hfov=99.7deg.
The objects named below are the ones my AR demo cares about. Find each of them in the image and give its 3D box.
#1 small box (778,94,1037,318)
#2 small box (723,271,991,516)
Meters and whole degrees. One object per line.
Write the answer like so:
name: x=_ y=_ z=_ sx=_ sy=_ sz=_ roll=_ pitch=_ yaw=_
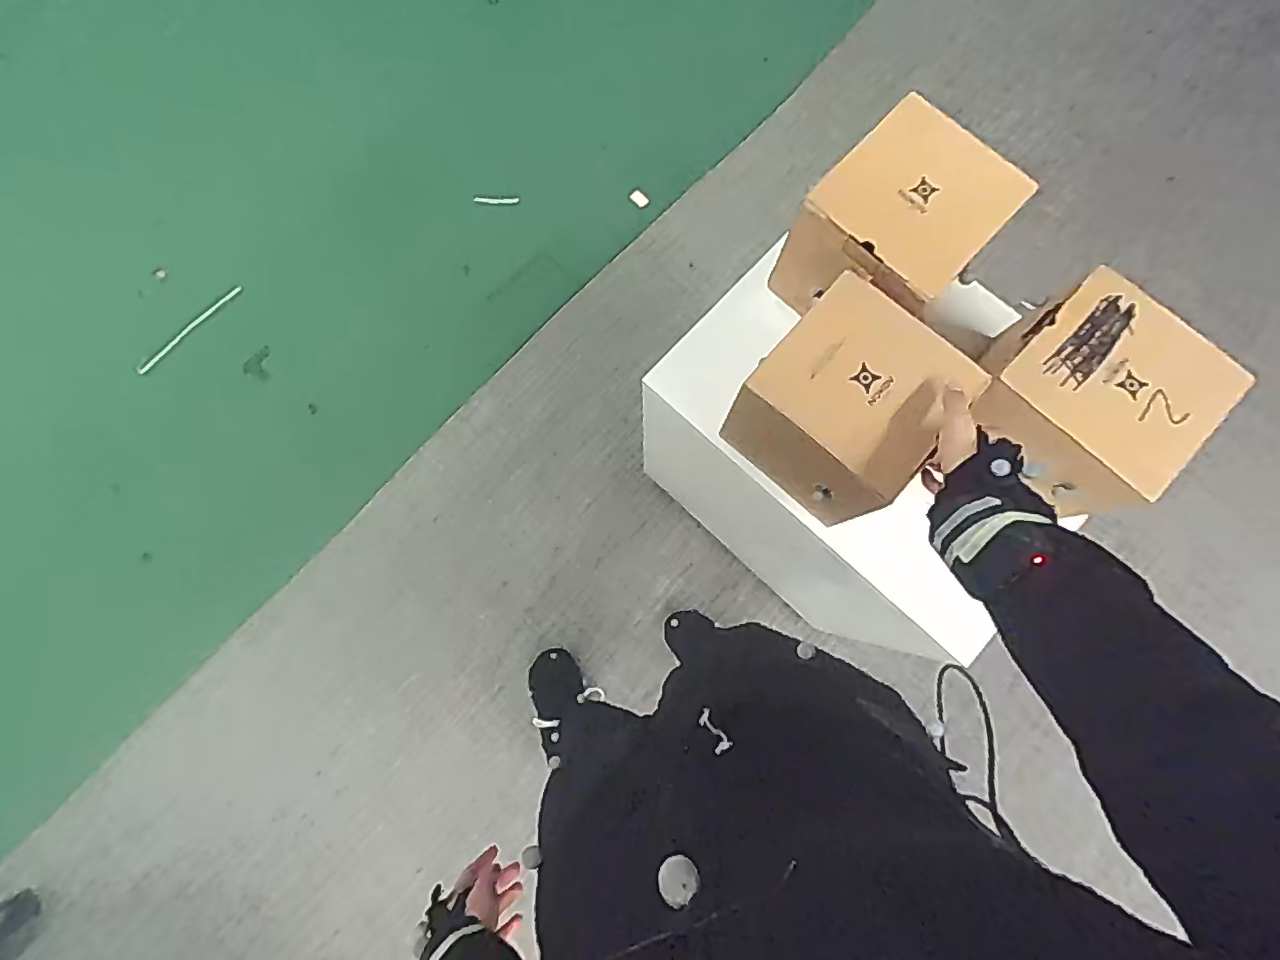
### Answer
small box: x=0.285 y=-0.274 z=0.621 sx=0.168 sy=0.176 sz=0.179 roll=43 pitch=83 yaw=7
small box: x=0.214 y=-0.076 z=0.584 sx=0.179 sy=0.176 sz=0.168 roll=41 pitch=80 yaw=9
